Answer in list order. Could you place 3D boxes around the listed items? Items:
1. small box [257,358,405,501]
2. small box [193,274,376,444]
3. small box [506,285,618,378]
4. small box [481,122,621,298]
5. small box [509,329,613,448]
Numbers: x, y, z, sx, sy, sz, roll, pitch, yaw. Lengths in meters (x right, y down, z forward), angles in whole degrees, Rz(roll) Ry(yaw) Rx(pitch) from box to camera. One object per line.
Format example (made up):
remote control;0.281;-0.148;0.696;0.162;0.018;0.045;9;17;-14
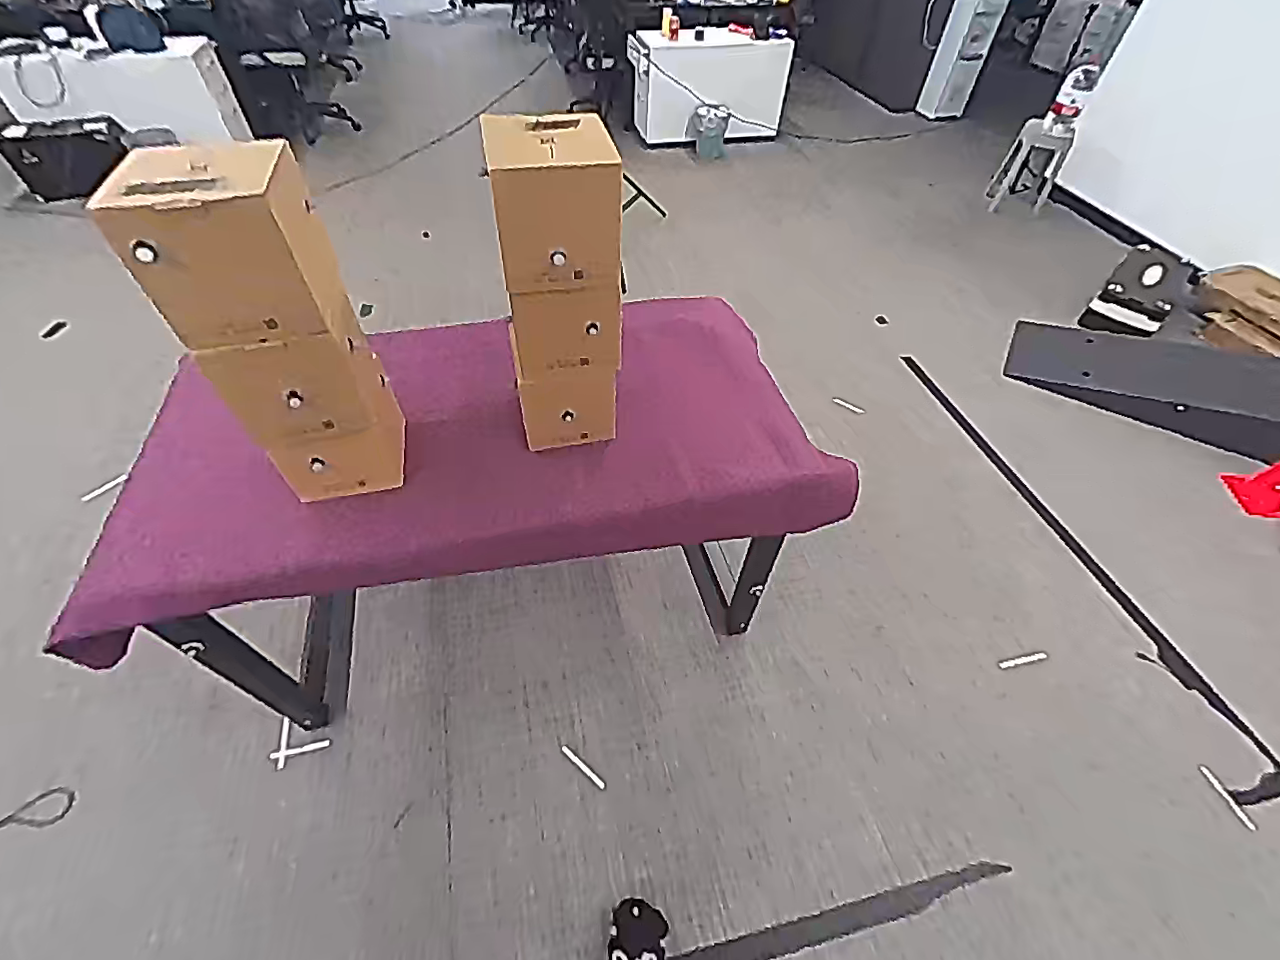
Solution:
small box;-0.513;-0.080;0.928;0.168;0.176;0.179;-10;51;-11
small box;-0.500;-0.169;0.790;0.168;0.176;0.179;-14;52;-14
small box;-0.130;-0.283;0.899;0.168;0.176;0.179;-8;50;-10
small box;-0.125;-0.382;0.766;0.168;0.176;0.179;-9;52;-10
small box;-0.145;-0.175;1.018;0.168;0.176;0.179;-9;51;-10
